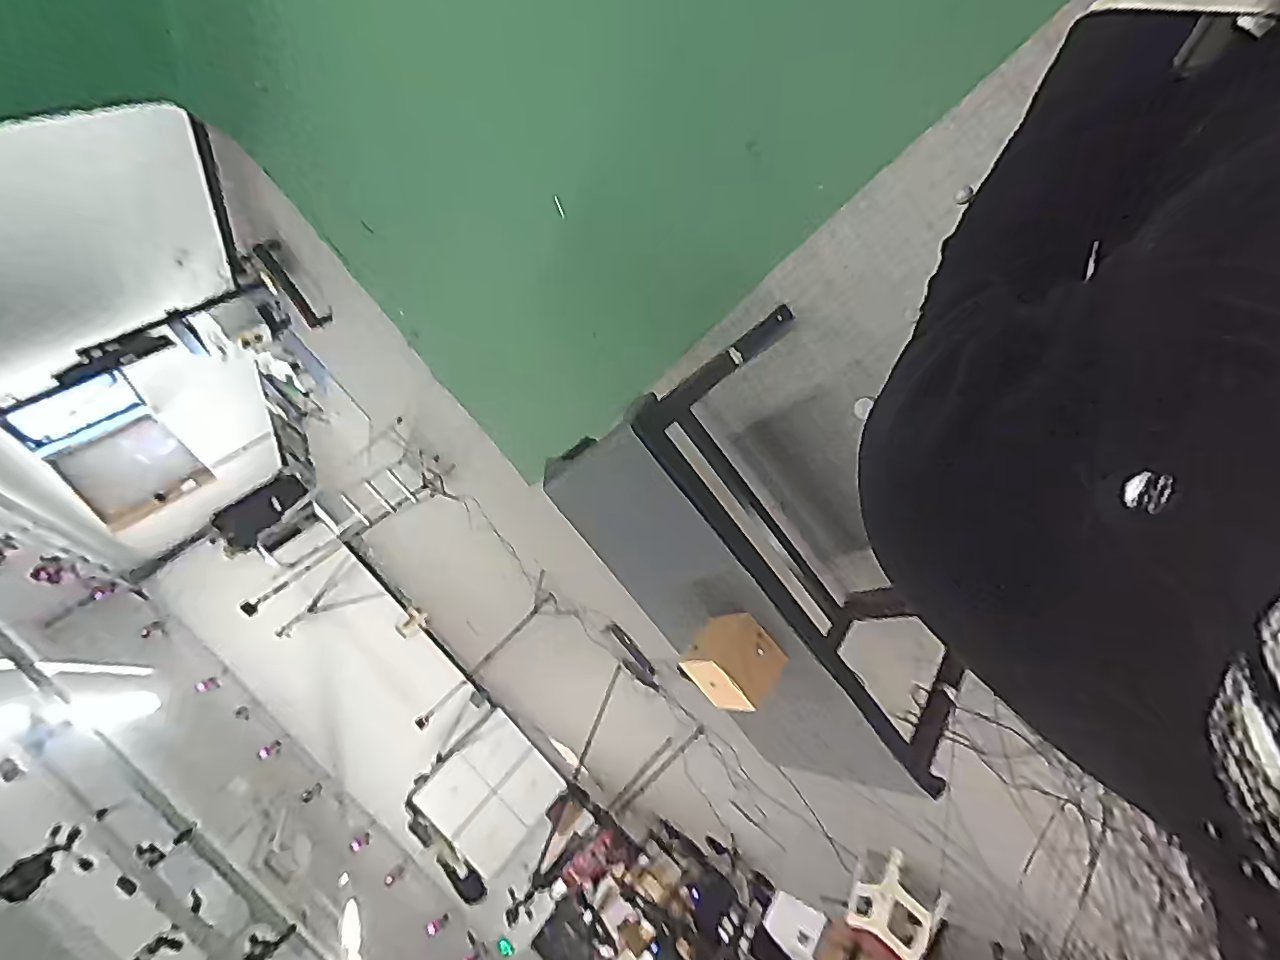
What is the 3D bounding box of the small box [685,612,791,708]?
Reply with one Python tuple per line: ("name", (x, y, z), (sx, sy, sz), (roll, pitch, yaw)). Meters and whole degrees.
("small box", (0.258, 0.465, 1.411), (0.168, 0.176, 0.179), (49, 147, -5))
